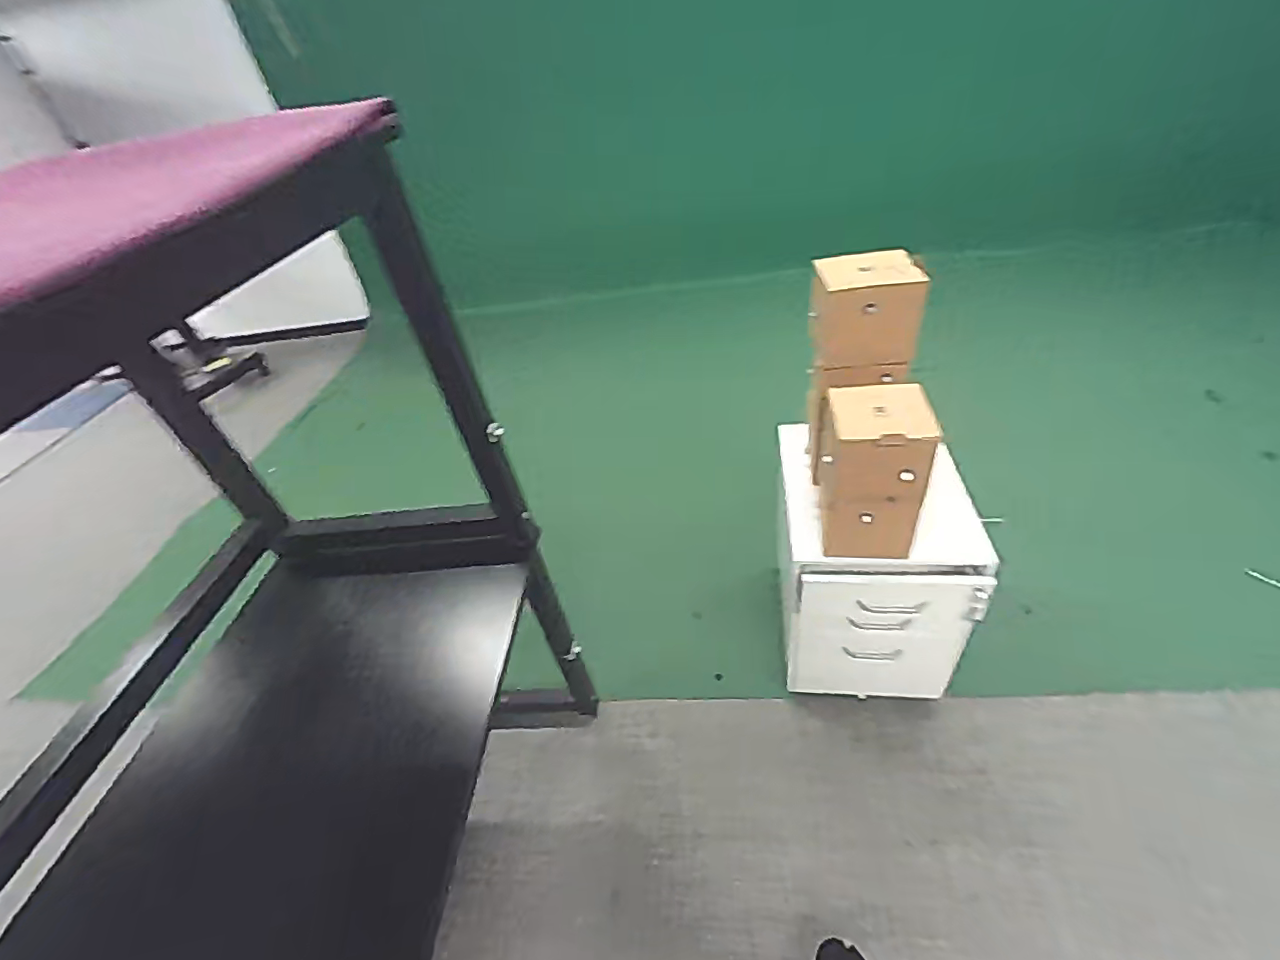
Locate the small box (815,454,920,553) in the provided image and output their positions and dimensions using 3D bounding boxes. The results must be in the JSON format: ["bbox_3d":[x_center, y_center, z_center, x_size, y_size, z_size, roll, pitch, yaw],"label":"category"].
[{"bbox_3d":[0.466,0.039,1.139,0.179,0.176,0.168,1,41,13],"label":"small box"}]

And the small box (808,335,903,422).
[{"bbox_3d":[0.470,-0.236,1.209,0.179,0.176,0.168,1,41,13],"label":"small box"}]

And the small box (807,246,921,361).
[{"bbox_3d":[0.442,-0.355,1.100,0.179,0.176,0.168,-3,41,7],"label":"small box"}]

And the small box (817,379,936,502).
[{"bbox_3d":[0.435,-0.071,1.023,0.168,0.176,0.179,-1,40,10],"label":"small box"}]
